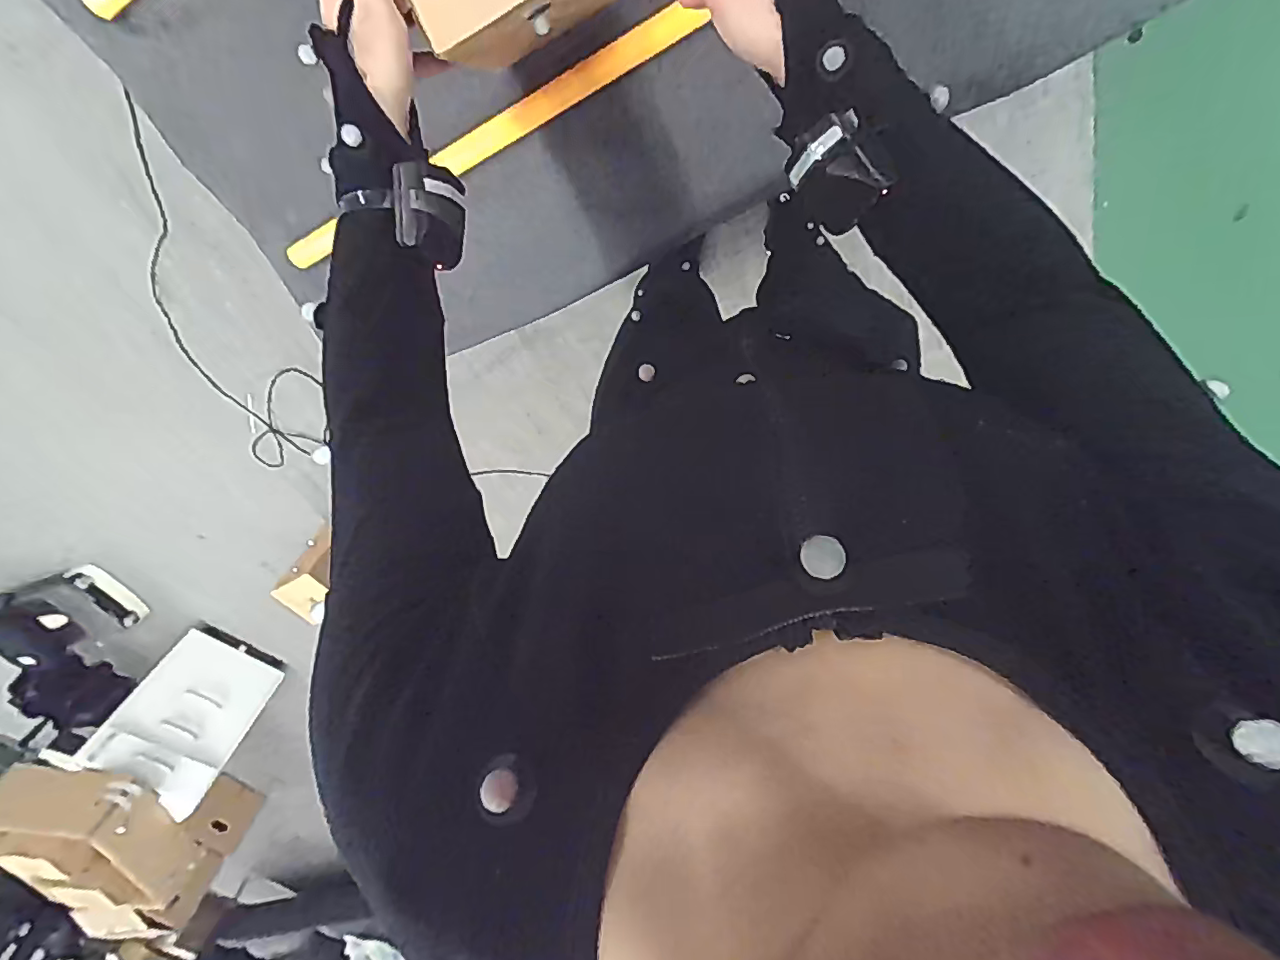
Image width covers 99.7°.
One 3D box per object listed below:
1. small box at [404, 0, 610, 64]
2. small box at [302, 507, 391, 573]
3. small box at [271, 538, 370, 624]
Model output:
[{"bbox_3d":[-0.098,-0.437,0.392,0.179,0.176,0.168,-19,122,16],"label":"small box"},{"bbox_3d":[-0.963,0.217,1.798,0.179,0.176,0.168,-23,121,19],"label":"small box"},{"bbox_3d":[-0.966,0.306,1.659,0.179,0.176,0.168,-25,120,20],"label":"small box"}]
